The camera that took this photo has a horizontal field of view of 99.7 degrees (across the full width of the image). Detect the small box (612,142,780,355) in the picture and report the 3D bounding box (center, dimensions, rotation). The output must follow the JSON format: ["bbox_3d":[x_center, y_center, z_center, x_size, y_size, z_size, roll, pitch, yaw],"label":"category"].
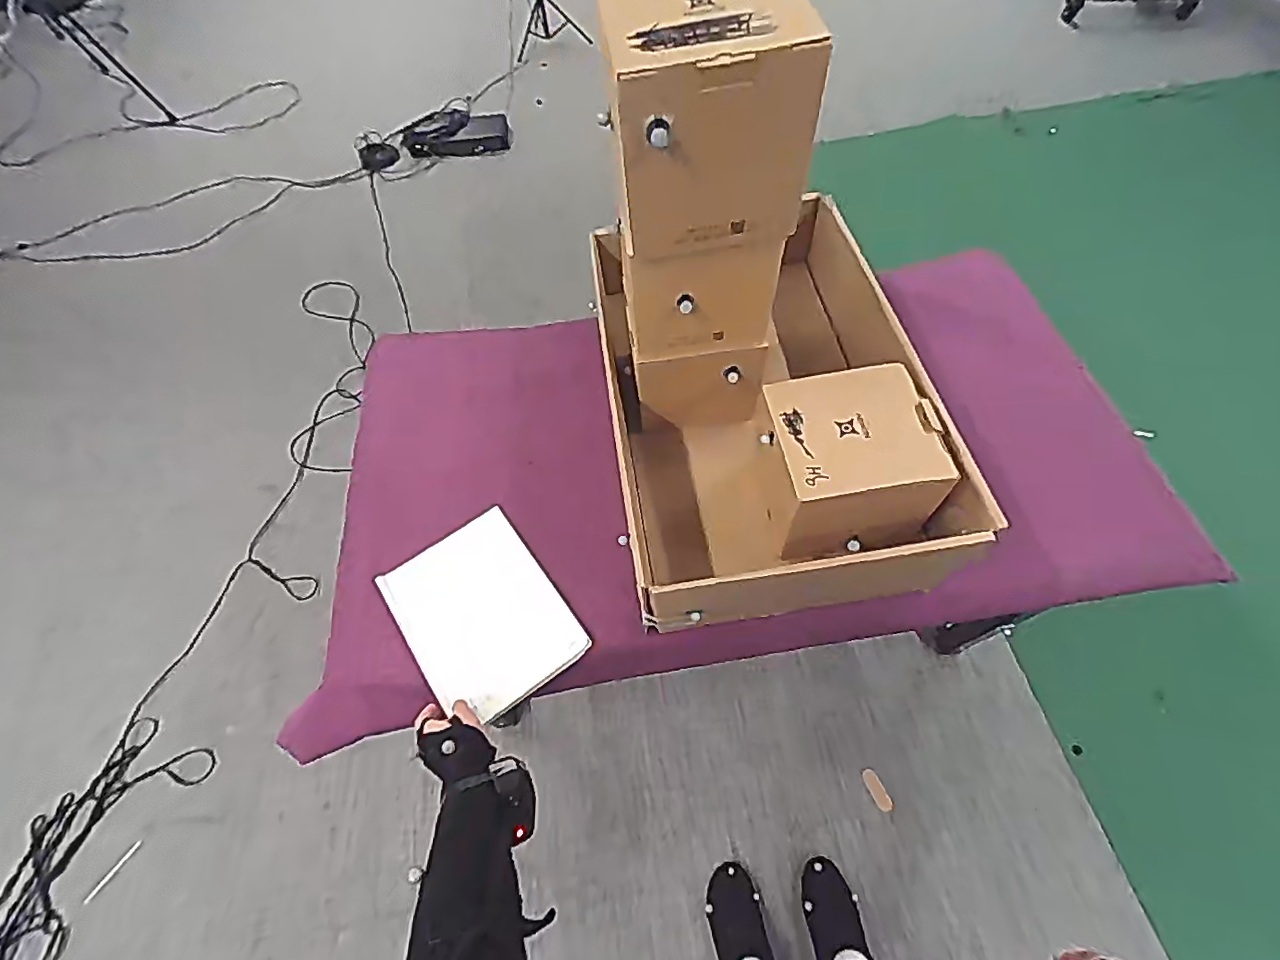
[{"bbox_3d":[0.063,-0.271,0.662,0.168,0.176,0.179,-8,61,0],"label":"small box"}]
